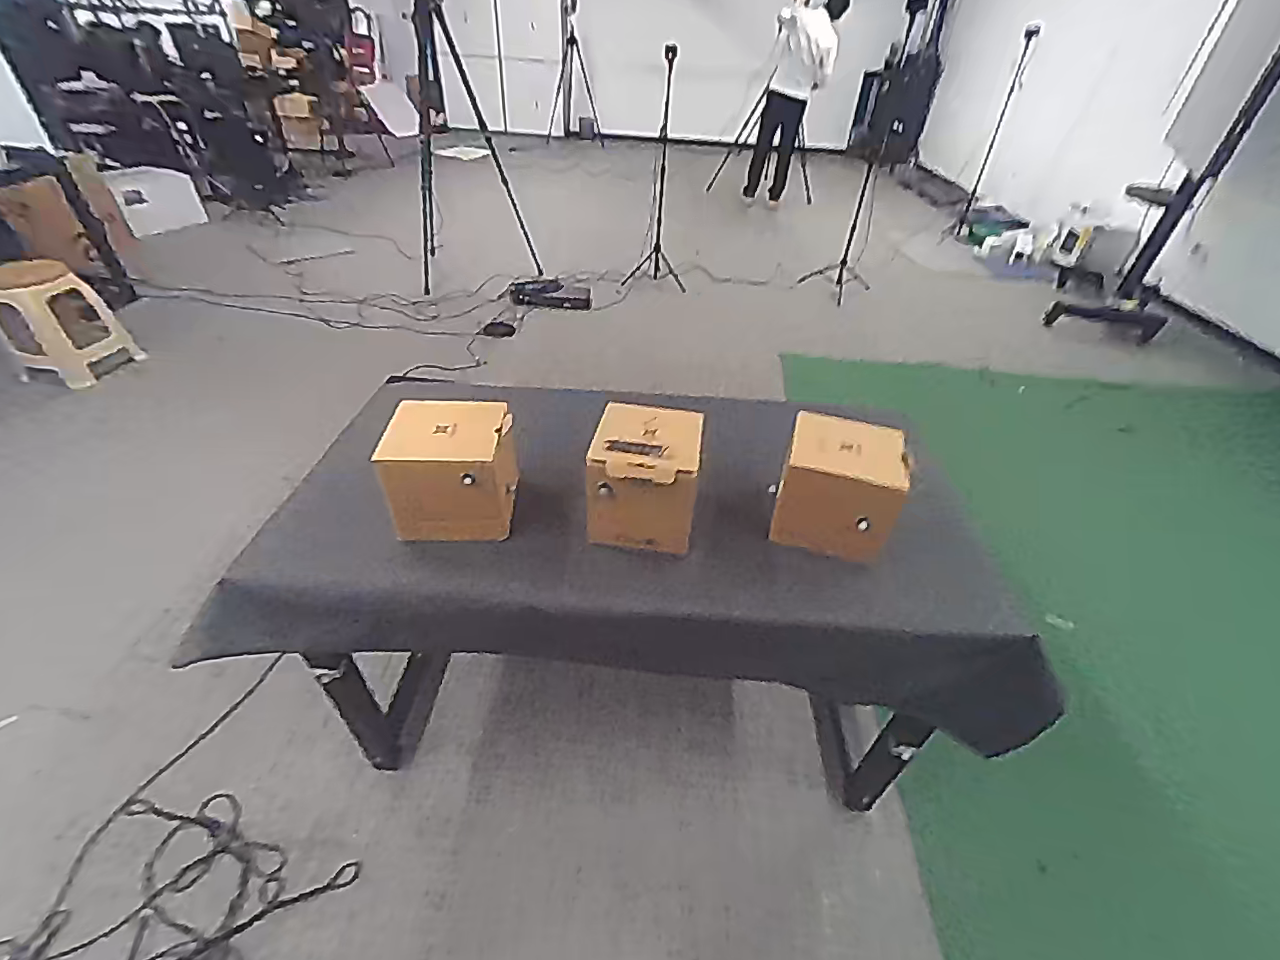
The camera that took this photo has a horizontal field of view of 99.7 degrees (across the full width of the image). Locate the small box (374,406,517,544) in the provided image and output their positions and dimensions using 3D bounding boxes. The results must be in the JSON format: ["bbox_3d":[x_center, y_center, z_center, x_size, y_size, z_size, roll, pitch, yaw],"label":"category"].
[{"bbox_3d":[-0.305,-0.008,0.891,0.179,0.176,0.168,1,39,-5],"label":"small box"}]

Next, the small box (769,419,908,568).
[{"bbox_3d":[0.327,0.024,0.910,0.179,0.176,0.168,13,39,12],"label":"small box"}]
